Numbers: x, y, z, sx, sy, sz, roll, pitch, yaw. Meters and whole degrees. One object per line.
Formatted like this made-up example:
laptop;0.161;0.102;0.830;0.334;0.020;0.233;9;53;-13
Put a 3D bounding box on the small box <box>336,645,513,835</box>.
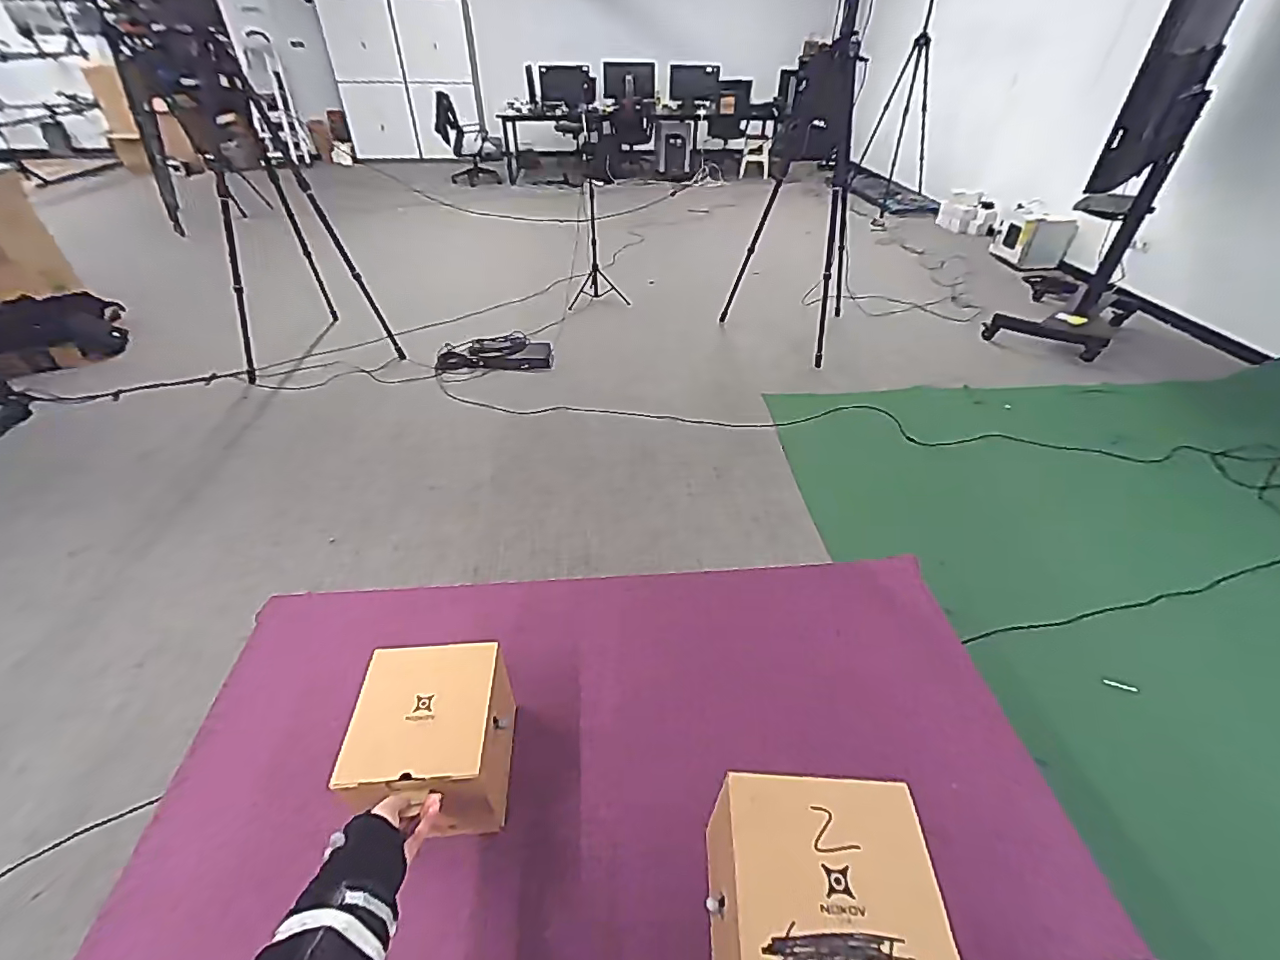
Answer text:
small box;-0.271;0.348;0.730;0.168;0.176;0.179;-2;40;-3
